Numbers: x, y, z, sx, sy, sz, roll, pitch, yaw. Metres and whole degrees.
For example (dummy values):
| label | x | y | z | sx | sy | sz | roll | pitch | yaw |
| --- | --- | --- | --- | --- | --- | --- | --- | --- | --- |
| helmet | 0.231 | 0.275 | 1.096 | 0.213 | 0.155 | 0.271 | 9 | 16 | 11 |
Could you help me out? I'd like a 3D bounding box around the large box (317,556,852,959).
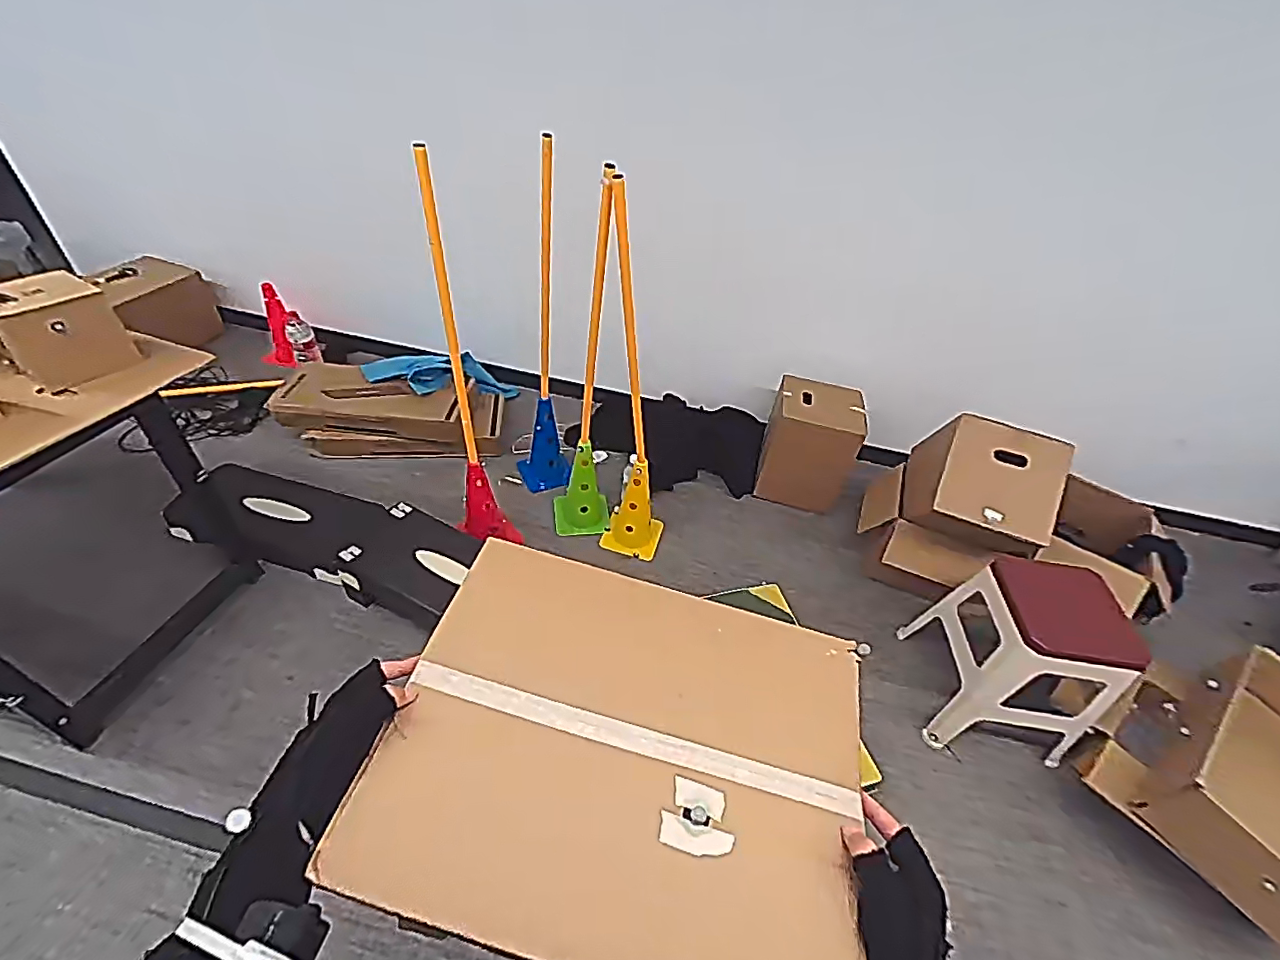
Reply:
| label | x | y | z | sx | sy | sz | roll | pitch | yaw |
| --- | --- | --- | --- | --- | --- | --- | --- | --- | --- |
| large box | -0.032 | 0.337 | 0.586 | 0.408 | 0.320 | 0.320 | 16 | 48 | 4 |
